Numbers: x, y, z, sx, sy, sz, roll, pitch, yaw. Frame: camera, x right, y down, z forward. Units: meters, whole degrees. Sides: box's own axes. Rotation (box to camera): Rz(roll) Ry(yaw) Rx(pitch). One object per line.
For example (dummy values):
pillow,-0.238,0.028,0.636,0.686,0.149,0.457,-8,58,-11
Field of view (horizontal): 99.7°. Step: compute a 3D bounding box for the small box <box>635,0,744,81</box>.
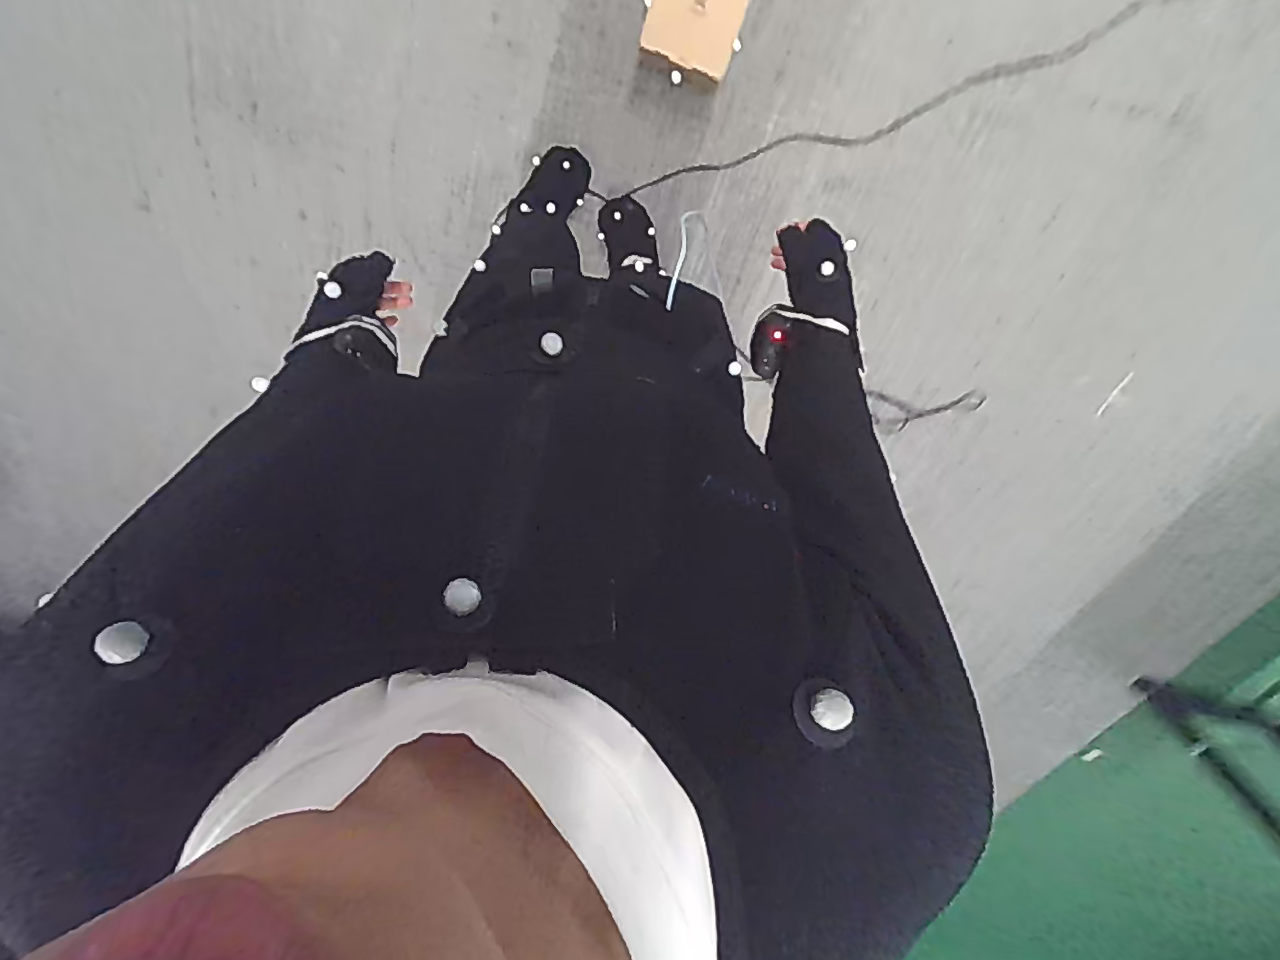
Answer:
small box,0.097,-0.873,1.000,0.168,0.176,0.179,17,120,-9
